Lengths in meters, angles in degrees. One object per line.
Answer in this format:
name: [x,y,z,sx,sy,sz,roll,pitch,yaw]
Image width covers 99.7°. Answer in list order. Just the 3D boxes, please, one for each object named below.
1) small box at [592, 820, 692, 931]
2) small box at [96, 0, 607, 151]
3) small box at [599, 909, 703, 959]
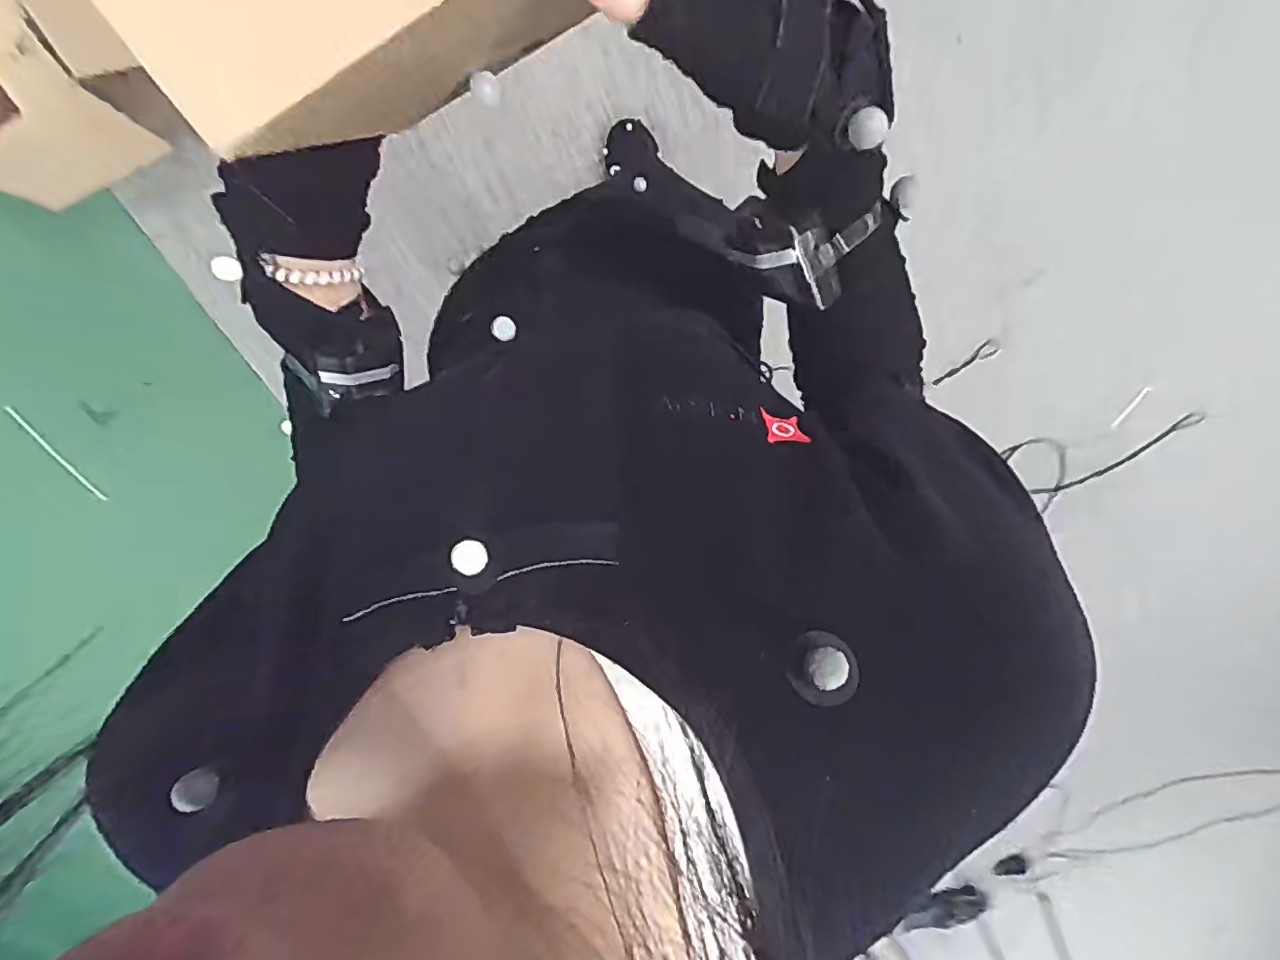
small box: [0.005,0.888,1.189,0.168,0.176,0.179,-22,119,8]
small box: [-0.116,-0.259,0.203,0.168,0.176,0.179,-19,123,18]
small box: [0.028,0.975,1.053,0.179,0.176,0.168,-23,119,10]
